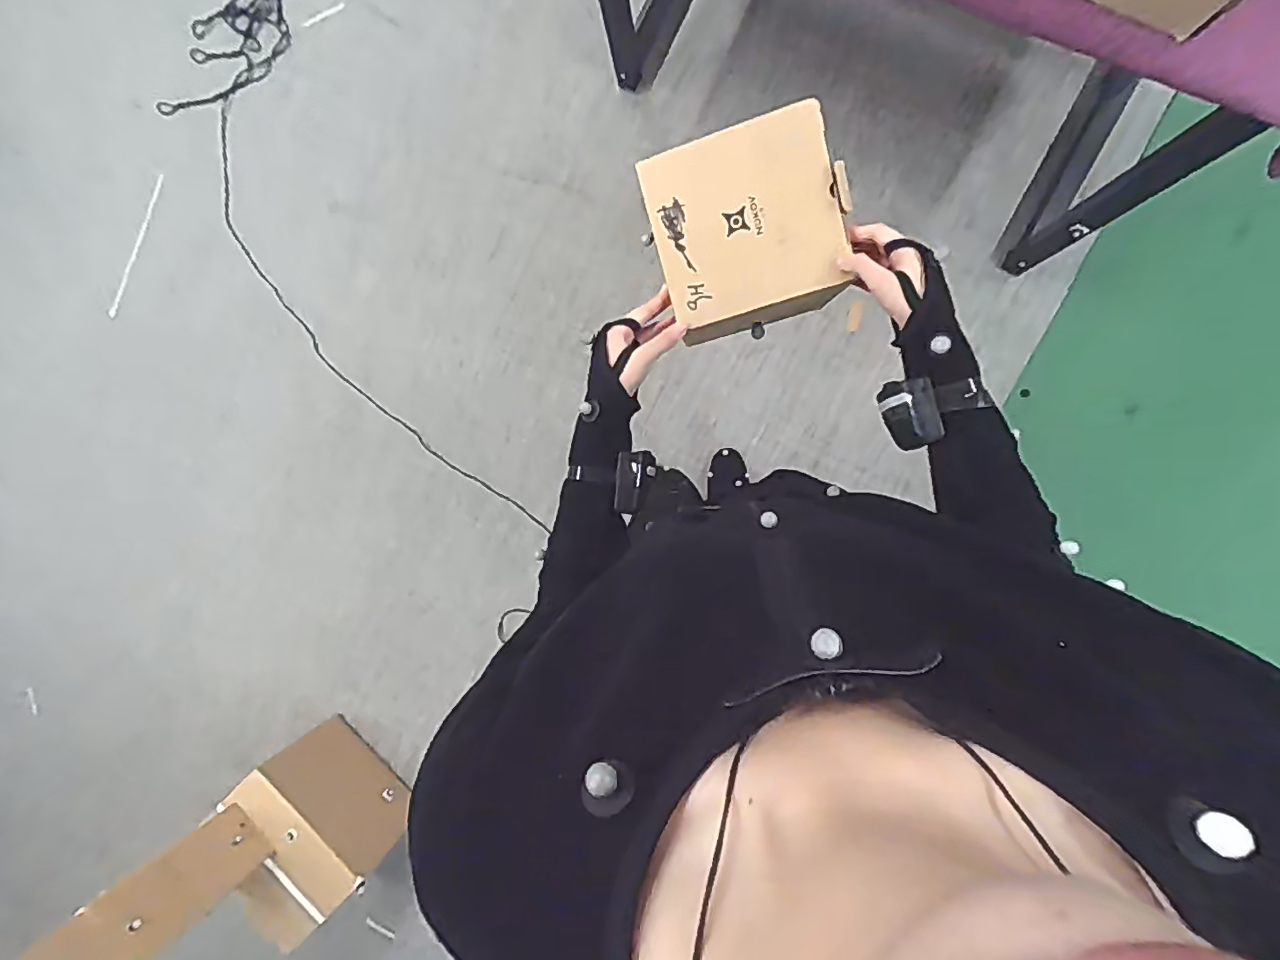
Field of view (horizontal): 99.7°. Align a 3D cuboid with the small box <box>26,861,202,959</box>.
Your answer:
[{"bbox_3d":[-1.091,0.951,1.136,0.168,0.176,0.179,-43,87,8],"label":"small box"}]

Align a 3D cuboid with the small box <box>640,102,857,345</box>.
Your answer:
[{"bbox_3d":[0.109,-0.255,0.584,0.179,0.176,0.168,-14,95,8],"label":"small box"}]

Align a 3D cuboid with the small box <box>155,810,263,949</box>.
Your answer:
[{"bbox_3d":[-1.063,0.949,1.296,0.179,0.176,0.168,-45,87,8],"label":"small box"}]
